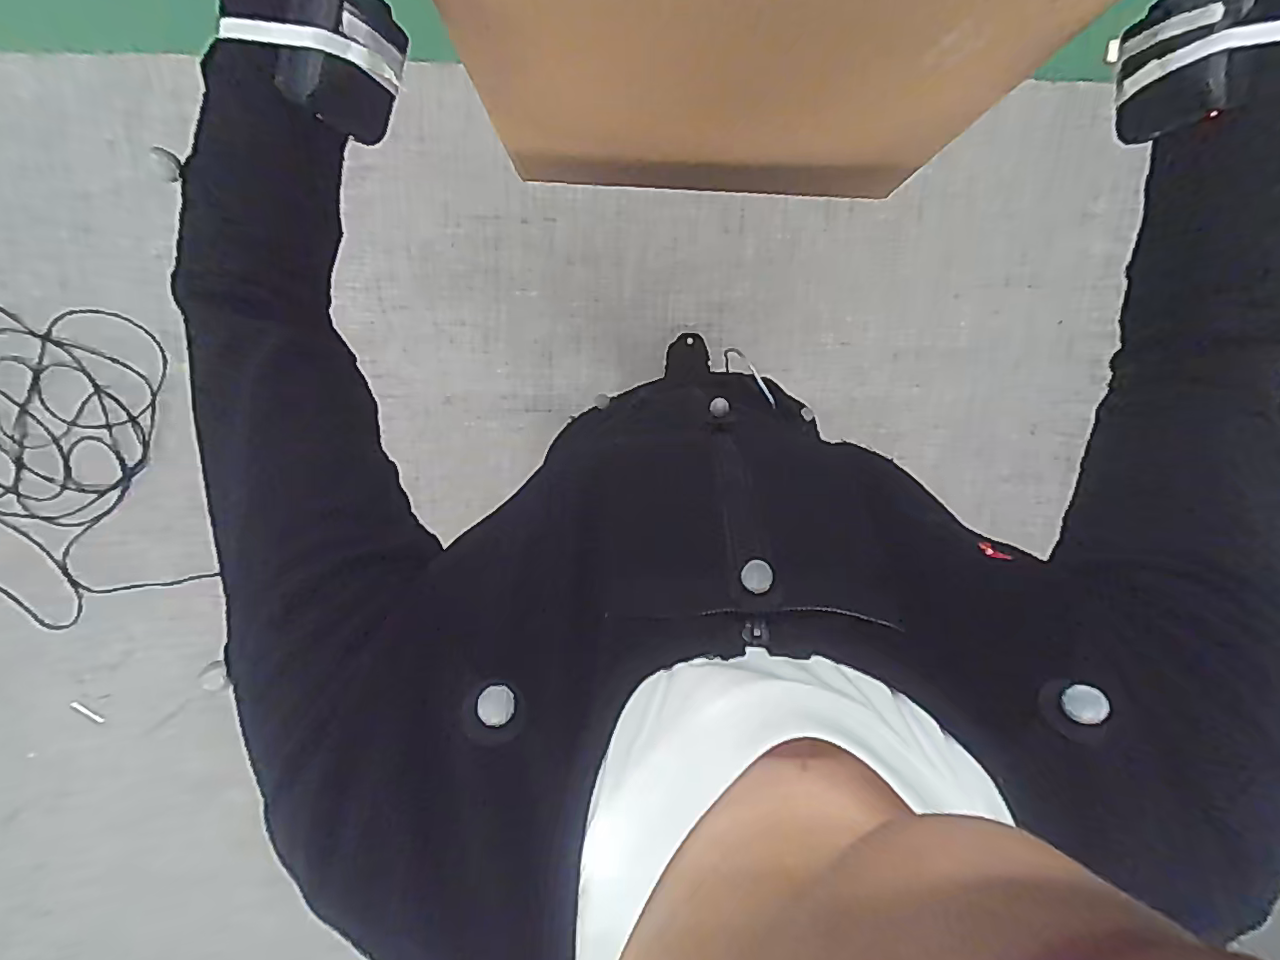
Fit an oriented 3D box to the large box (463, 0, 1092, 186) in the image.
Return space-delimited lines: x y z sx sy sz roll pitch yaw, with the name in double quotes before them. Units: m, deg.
"large box" 0.082 -0.457 0.429 0.408 0.320 0.320 1 98 -2
